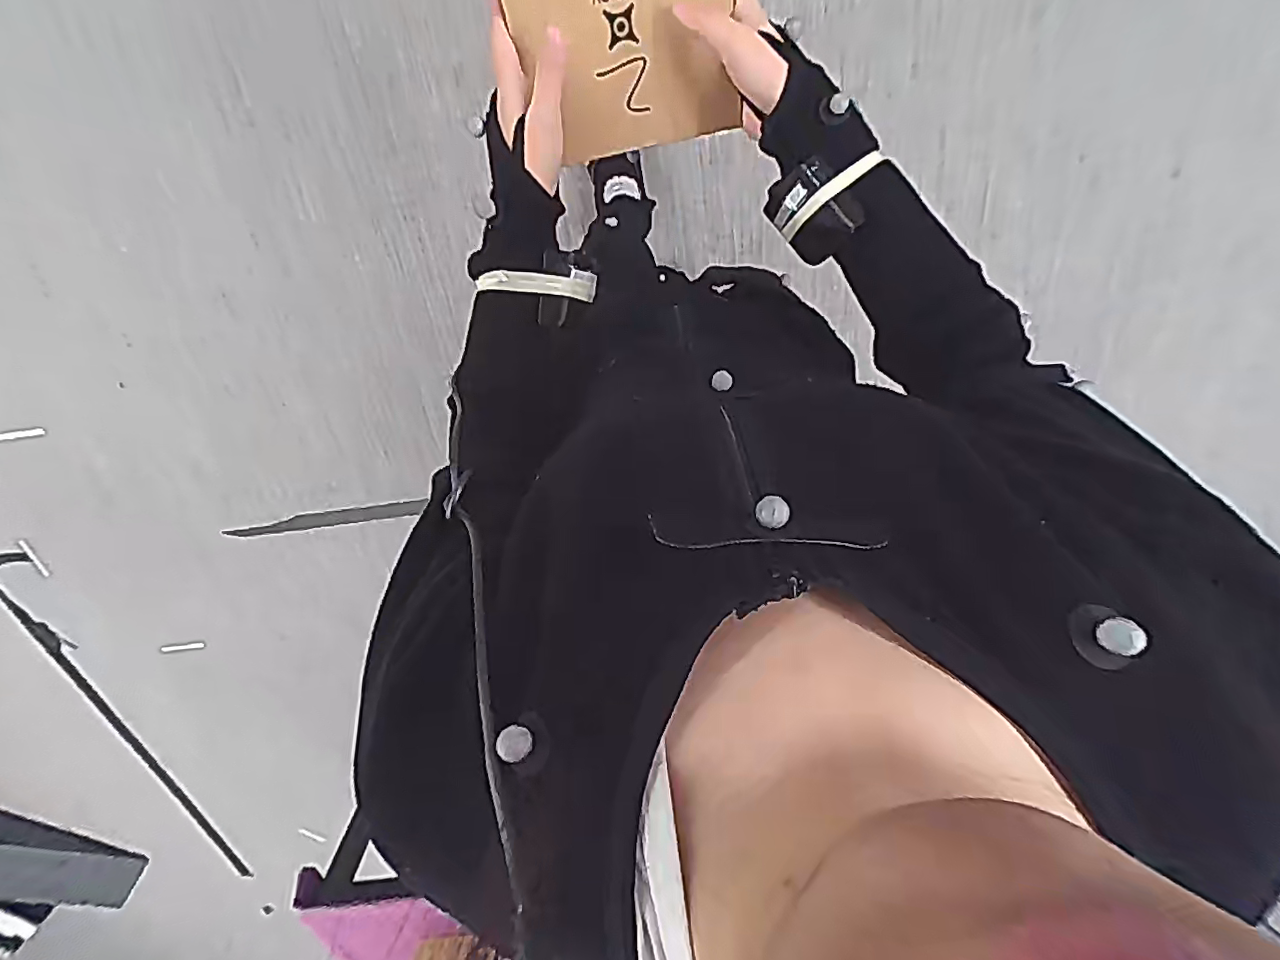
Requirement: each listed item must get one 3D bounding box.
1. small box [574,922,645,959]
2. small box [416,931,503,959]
[{"bbox_3d":[-0.075,1.193,1.281,0.168,0.176,0.179,2,116,-2],"label":"small box"},{"bbox_3d":[-0.444,1.218,1.290,0.179,0.176,0.168,-7,117,2],"label":"small box"}]
